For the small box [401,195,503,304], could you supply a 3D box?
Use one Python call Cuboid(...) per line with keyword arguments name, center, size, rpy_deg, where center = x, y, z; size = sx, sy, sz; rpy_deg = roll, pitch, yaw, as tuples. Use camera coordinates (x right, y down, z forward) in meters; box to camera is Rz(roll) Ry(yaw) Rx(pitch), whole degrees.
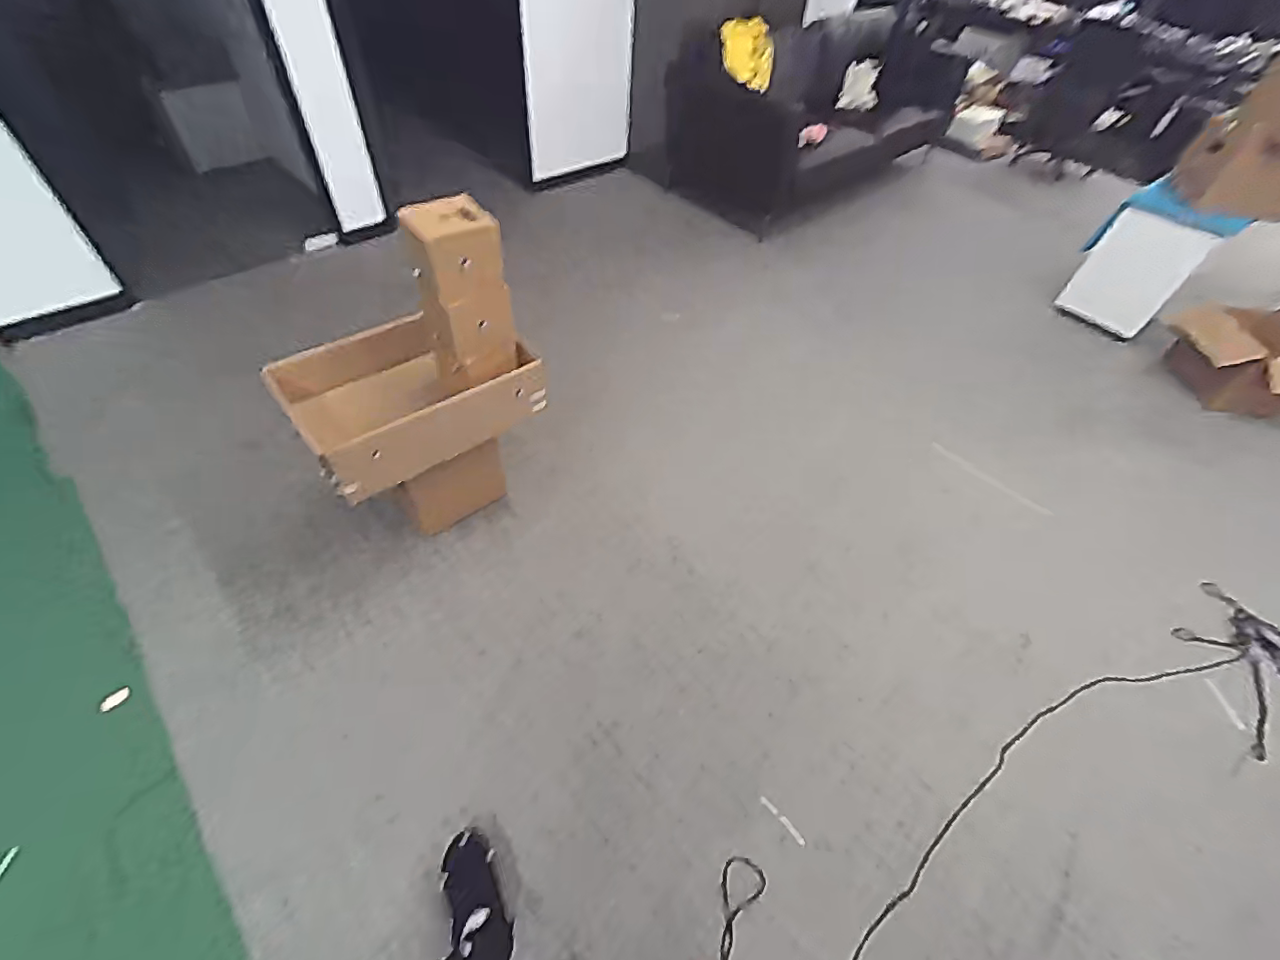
Cuboid(name="small box", center=(-0.446, -0.558, 1.312), size=(0.179, 0.176, 0.168), rpy_deg=(-29, 58, -26))
